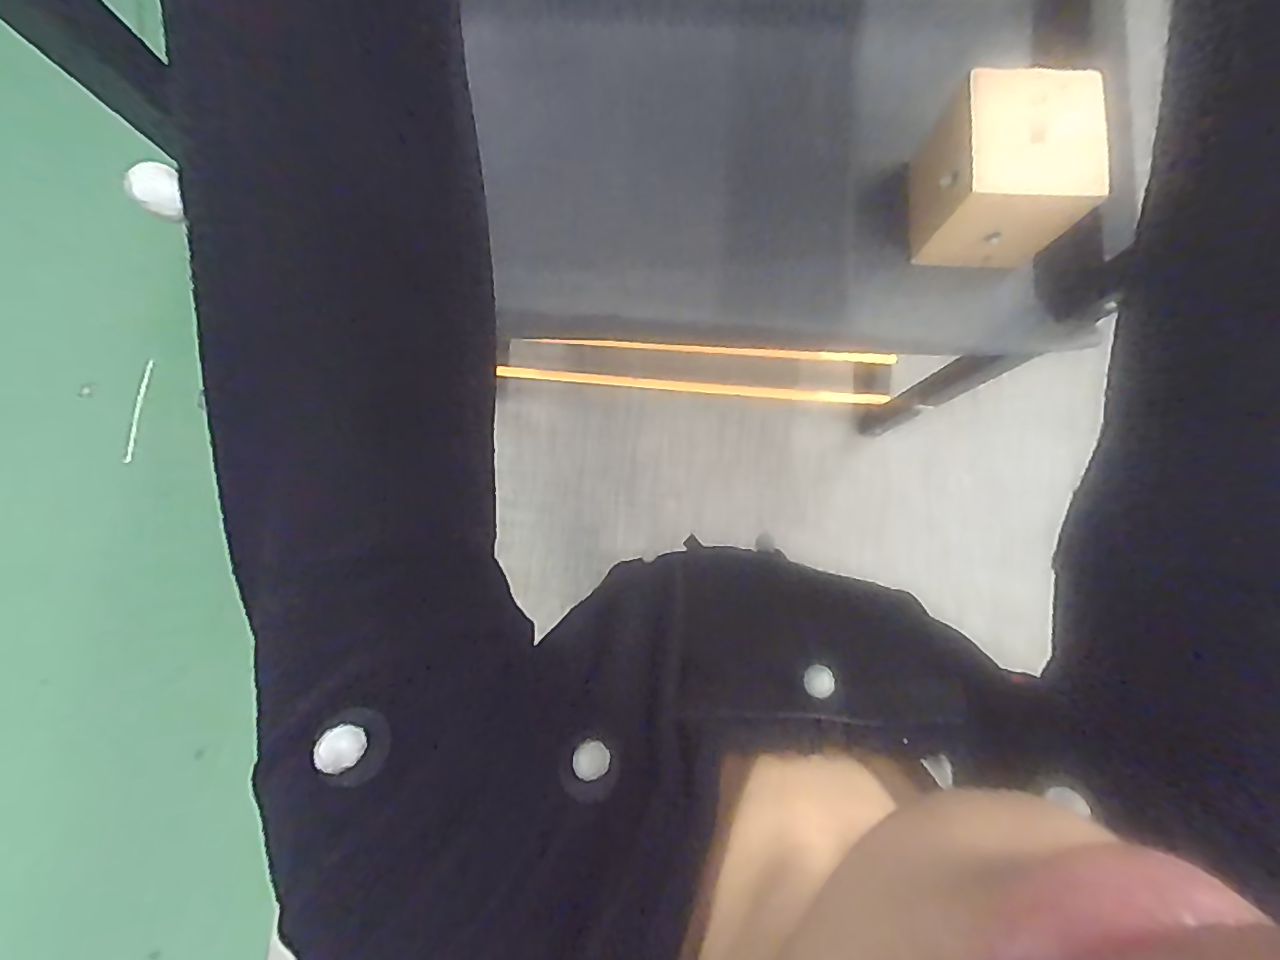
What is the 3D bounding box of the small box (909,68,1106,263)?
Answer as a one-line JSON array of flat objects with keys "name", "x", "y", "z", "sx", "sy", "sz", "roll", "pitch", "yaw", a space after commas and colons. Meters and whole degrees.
[{"name": "small box", "x": 0.494, "y": -0.423, "z": 0.752, "sx": 0.168, "sy": 0.176, "sz": 0.179, "roll": 3, "pitch": 82, "yaw": 2}]
